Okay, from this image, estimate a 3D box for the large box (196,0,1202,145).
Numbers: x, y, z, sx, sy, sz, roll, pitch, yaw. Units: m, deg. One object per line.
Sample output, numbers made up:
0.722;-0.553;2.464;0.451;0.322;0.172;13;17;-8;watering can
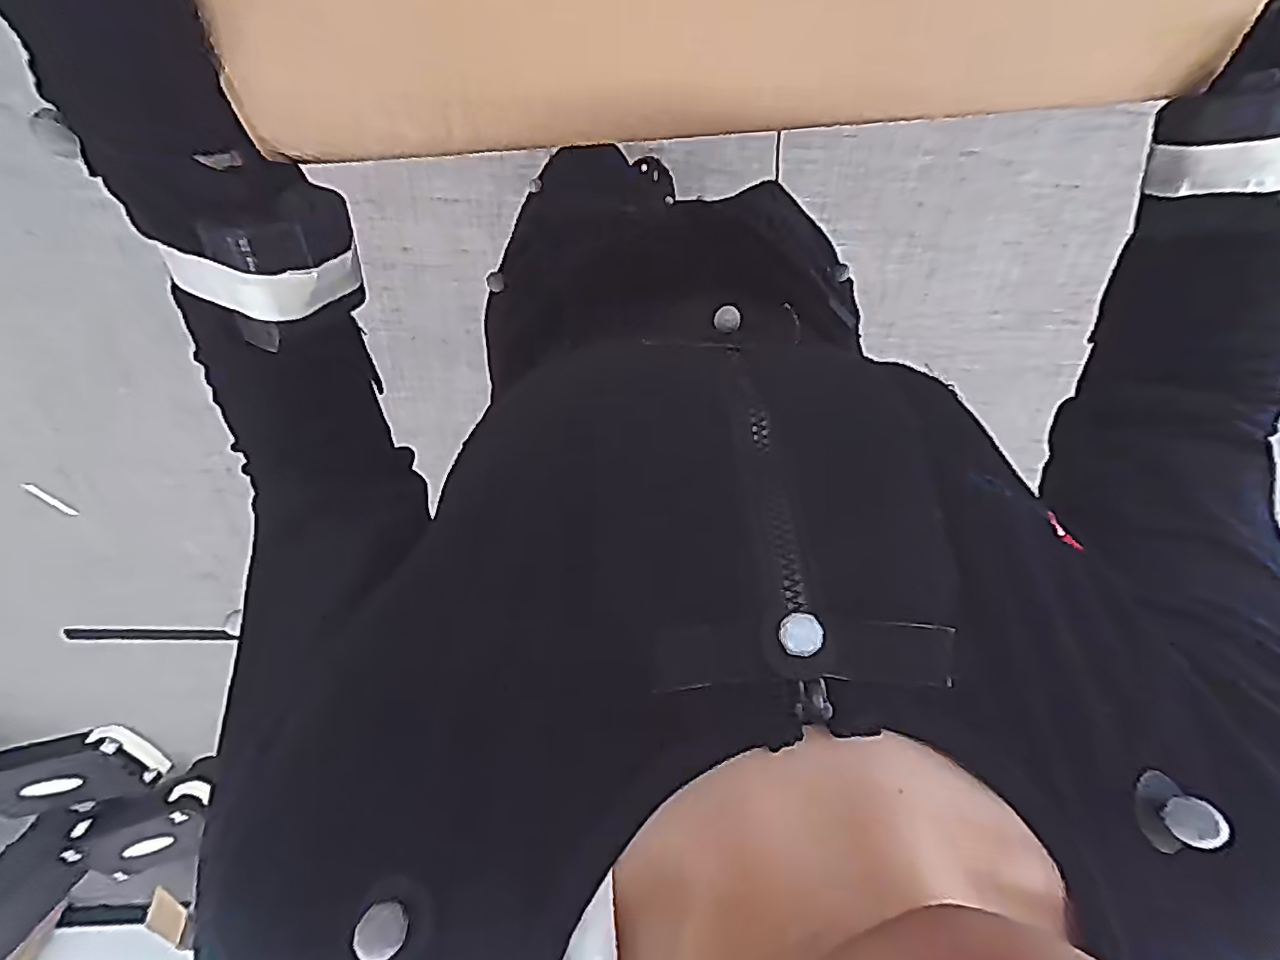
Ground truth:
0.020;-0.373;0.206;0.408;0.320;0.320;-6;142;-3;large box
